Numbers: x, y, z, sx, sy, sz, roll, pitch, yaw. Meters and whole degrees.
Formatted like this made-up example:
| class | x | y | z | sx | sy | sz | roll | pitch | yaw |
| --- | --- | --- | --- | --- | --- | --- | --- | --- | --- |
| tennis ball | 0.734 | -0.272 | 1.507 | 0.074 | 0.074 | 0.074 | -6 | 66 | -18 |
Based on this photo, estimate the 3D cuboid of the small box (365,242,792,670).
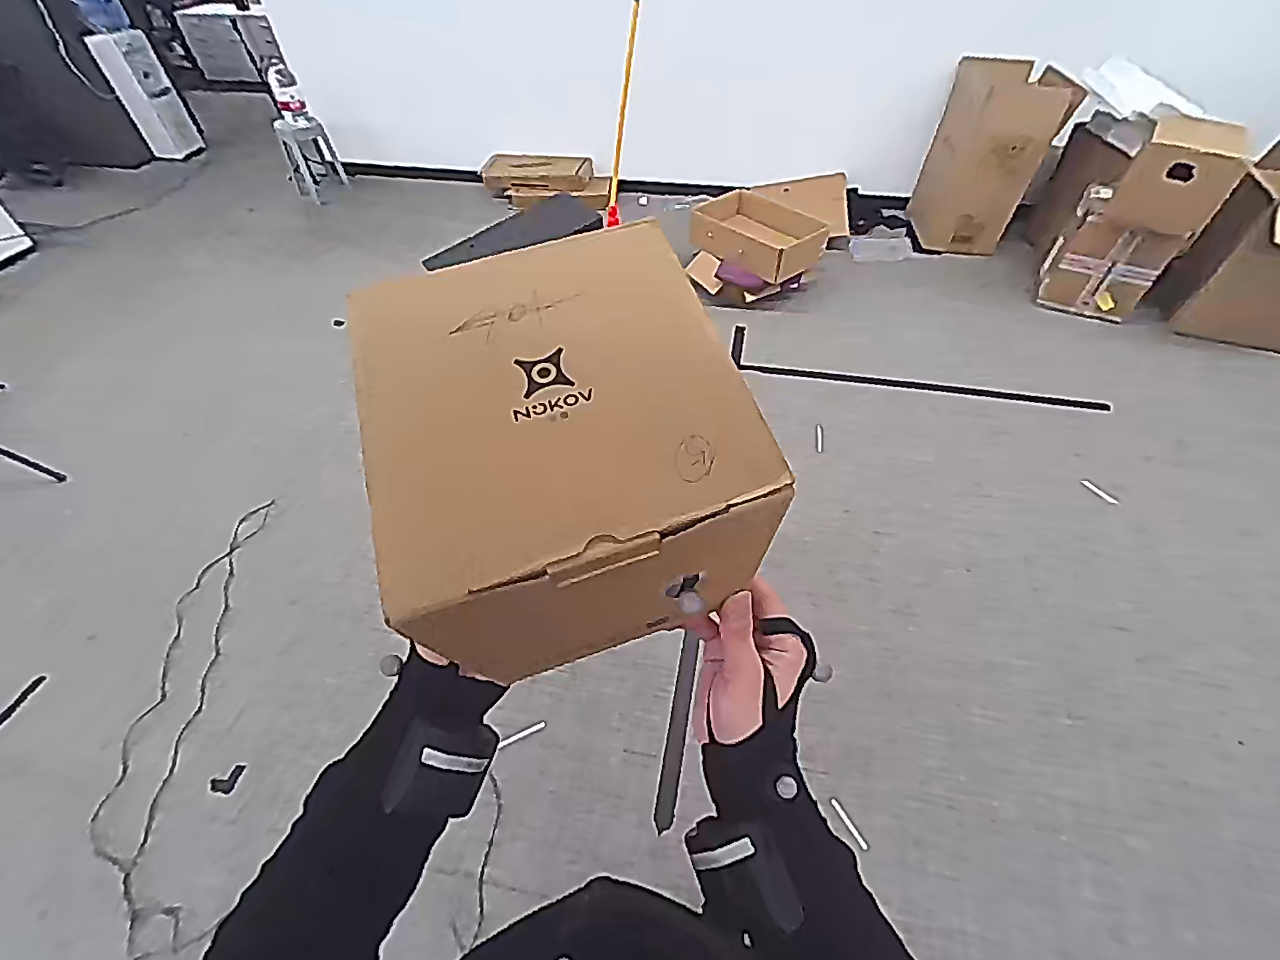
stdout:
| class | x | y | z | sx | sy | sz | roll | pitch | yaw |
| --- | --- | --- | --- | --- | --- | --- | --- | --- | --- |
| small box | -0.036 | 0.000 | 0.324 | 0.168 | 0.176 | 0.179 | -18 | 62 | -9 |
